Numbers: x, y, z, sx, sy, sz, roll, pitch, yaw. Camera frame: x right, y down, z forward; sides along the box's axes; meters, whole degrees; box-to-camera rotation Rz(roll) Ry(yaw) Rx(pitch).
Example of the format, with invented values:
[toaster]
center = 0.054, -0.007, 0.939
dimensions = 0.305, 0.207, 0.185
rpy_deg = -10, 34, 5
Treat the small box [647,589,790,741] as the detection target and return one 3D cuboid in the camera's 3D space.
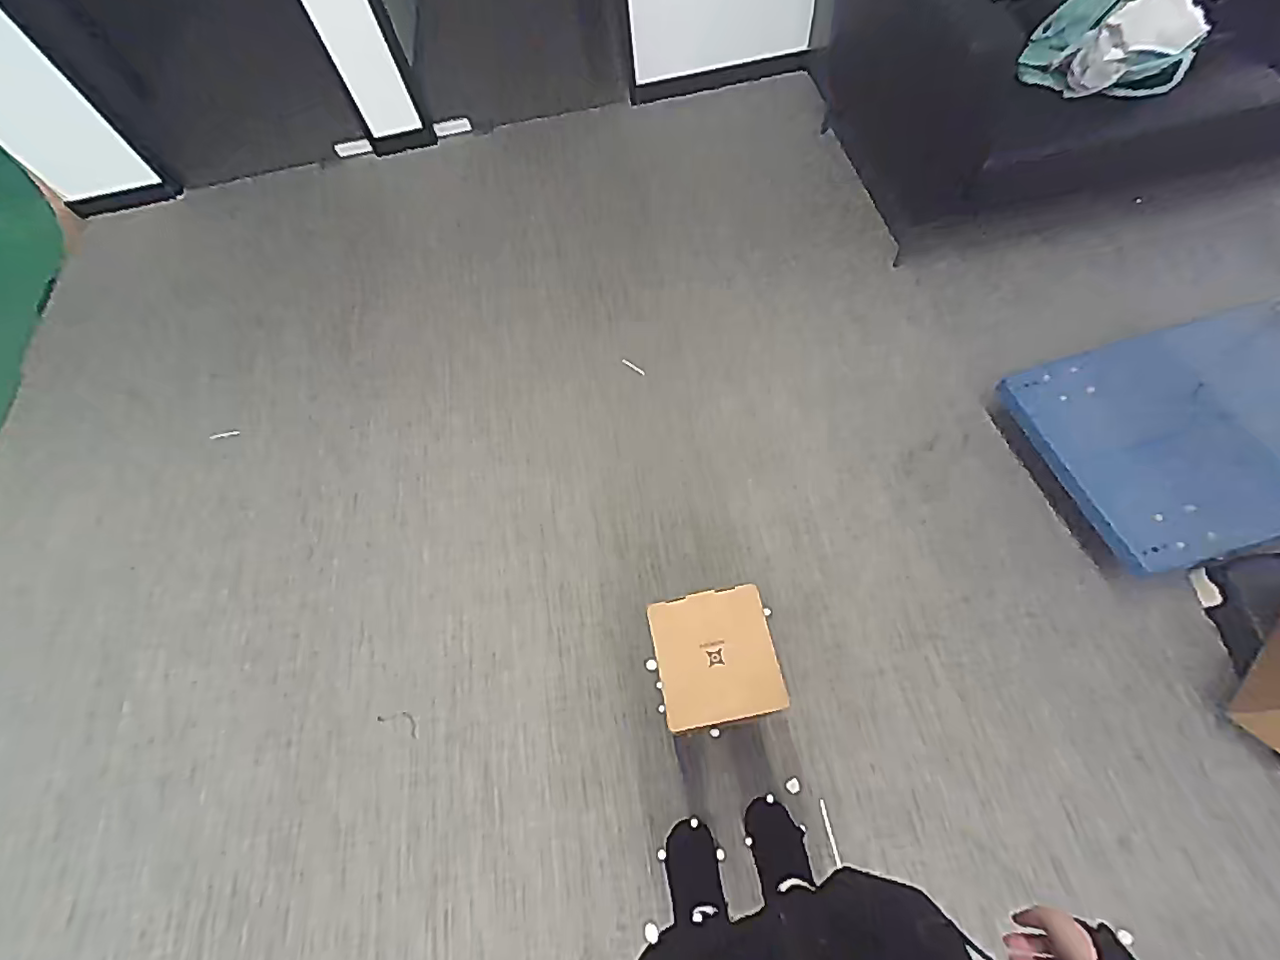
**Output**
[small box]
center = 0.113, 0.284, 0.817
dimensions = 0.168, 0.176, 0.179
rpy_deg = -12, 63, 0
